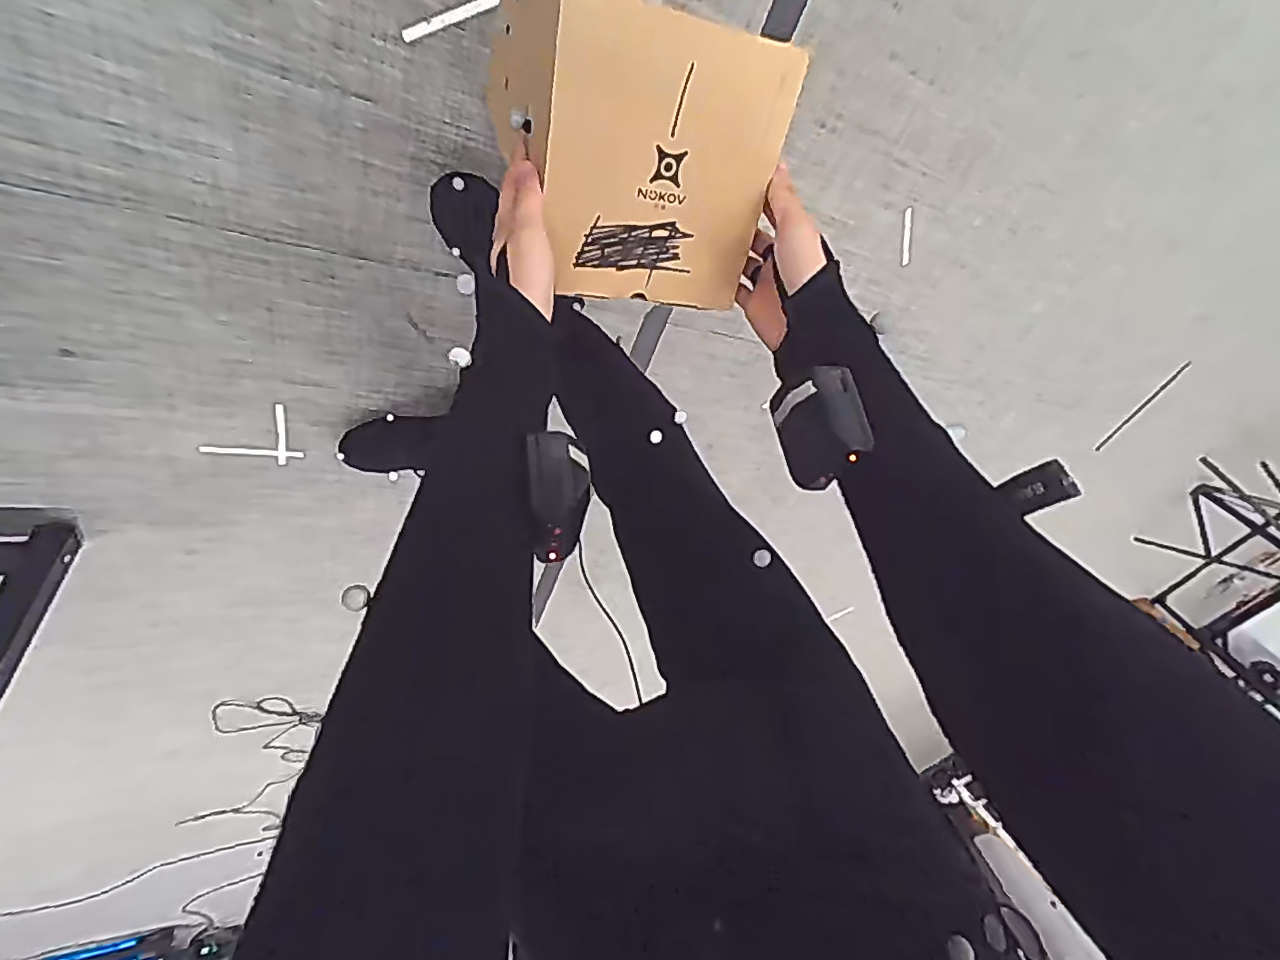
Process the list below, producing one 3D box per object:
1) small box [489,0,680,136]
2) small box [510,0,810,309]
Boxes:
[{"bbox_3d":[-0.079,-0.504,0.647,0.168,0.176,0.179,3,132,-26],"label":"small box"},{"bbox_3d":[-0.007,-0.257,0.422,0.168,0.176,0.179,-2,131,-21],"label":"small box"}]
